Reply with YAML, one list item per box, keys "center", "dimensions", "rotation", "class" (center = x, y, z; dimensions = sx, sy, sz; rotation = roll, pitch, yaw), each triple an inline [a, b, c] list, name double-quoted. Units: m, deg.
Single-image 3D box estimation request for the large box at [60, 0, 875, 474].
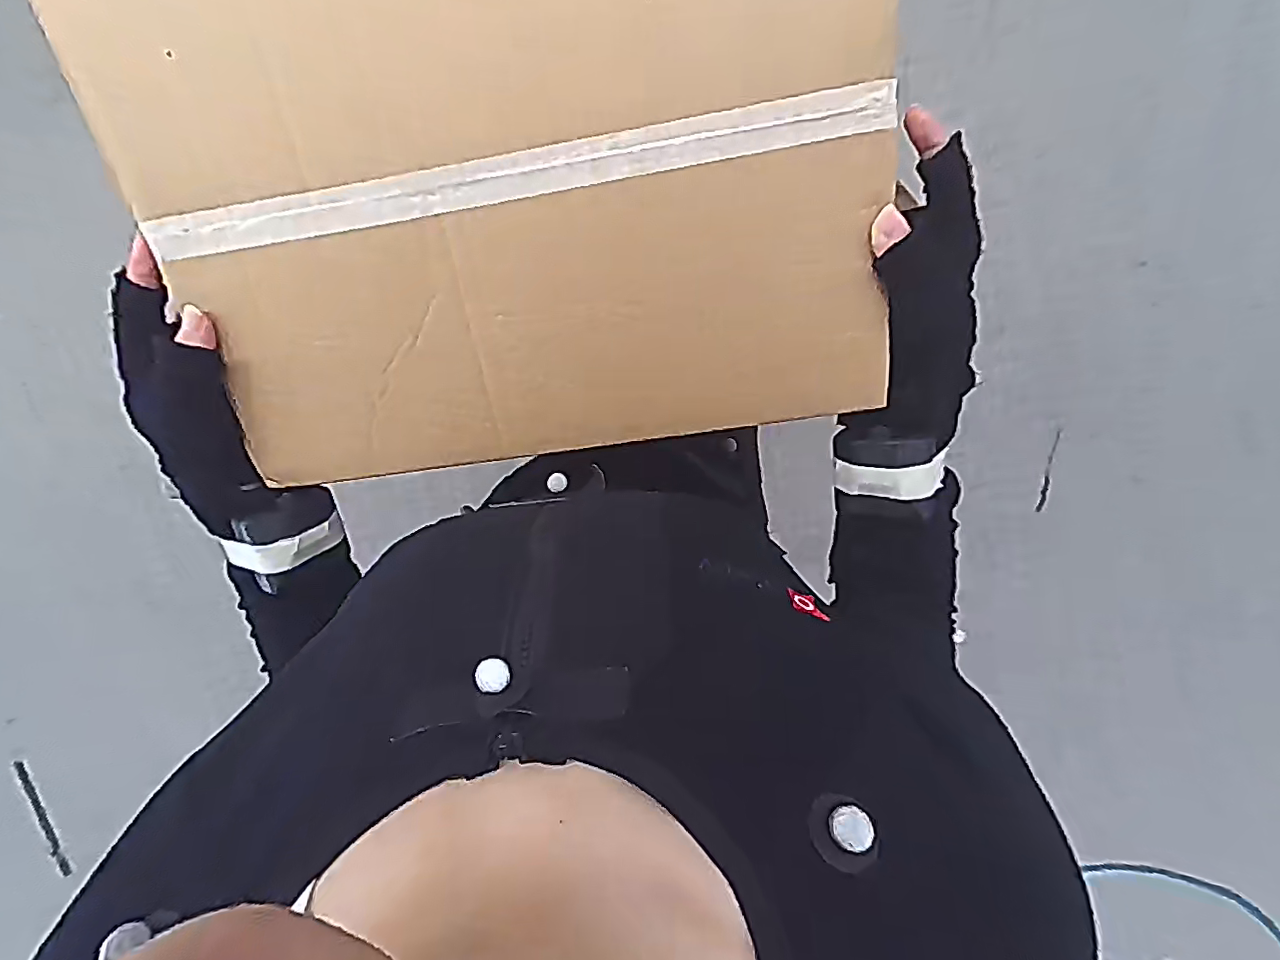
- center: [-0.070, -0.230, 0.430]
  dimensions: [0.408, 0.320, 0.320]
  rotation: [-7, 113, 5]
  class: "large box"
